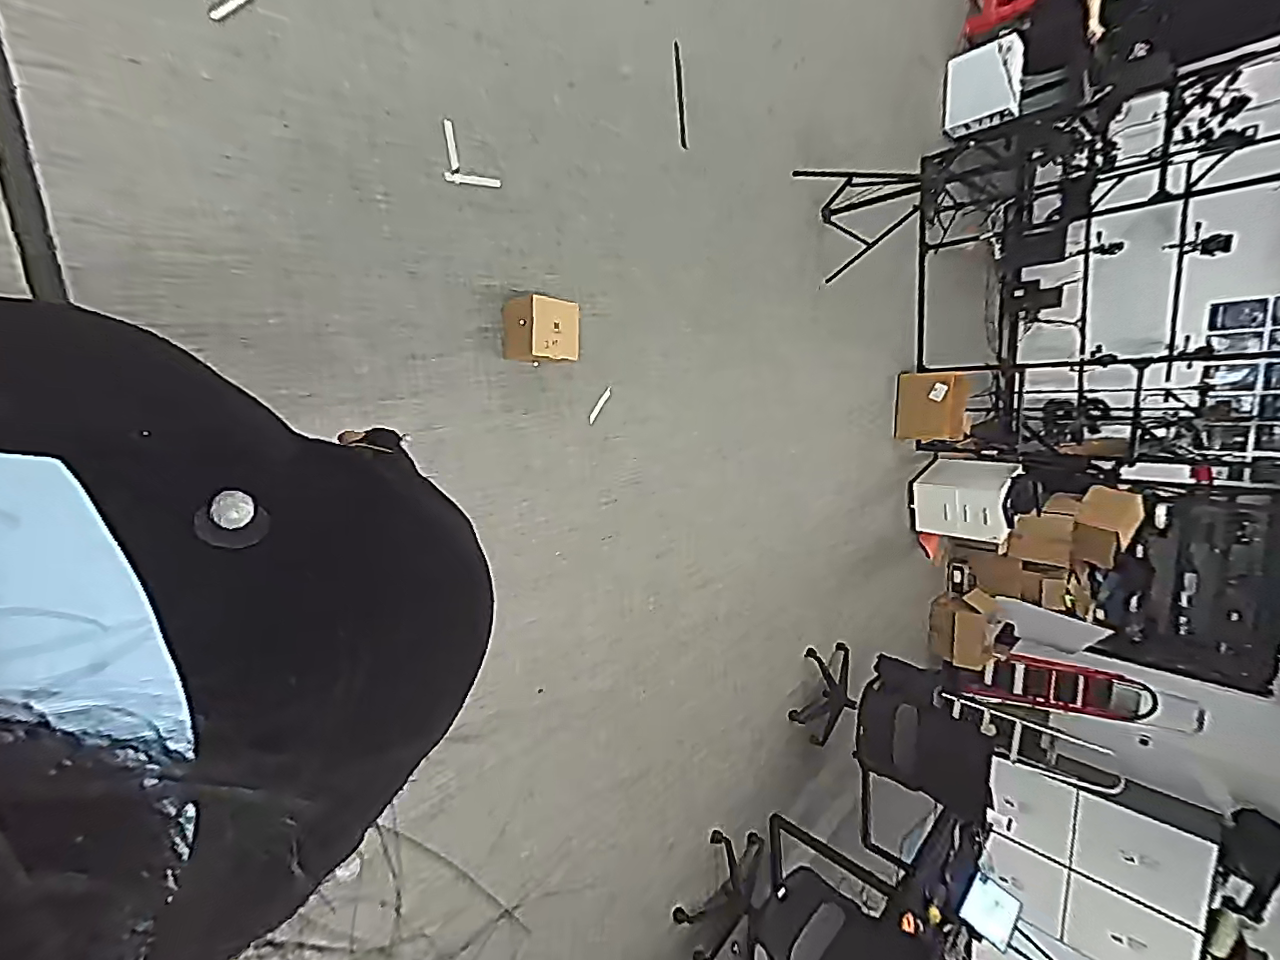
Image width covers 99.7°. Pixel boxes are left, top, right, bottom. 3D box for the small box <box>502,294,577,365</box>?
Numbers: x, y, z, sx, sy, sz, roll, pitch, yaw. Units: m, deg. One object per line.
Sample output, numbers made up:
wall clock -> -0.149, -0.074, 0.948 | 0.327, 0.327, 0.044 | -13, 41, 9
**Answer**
small box -> -0.312, -0.457, 1.664 | 0.168, 0.176, 0.179 | -3, 98, -43
